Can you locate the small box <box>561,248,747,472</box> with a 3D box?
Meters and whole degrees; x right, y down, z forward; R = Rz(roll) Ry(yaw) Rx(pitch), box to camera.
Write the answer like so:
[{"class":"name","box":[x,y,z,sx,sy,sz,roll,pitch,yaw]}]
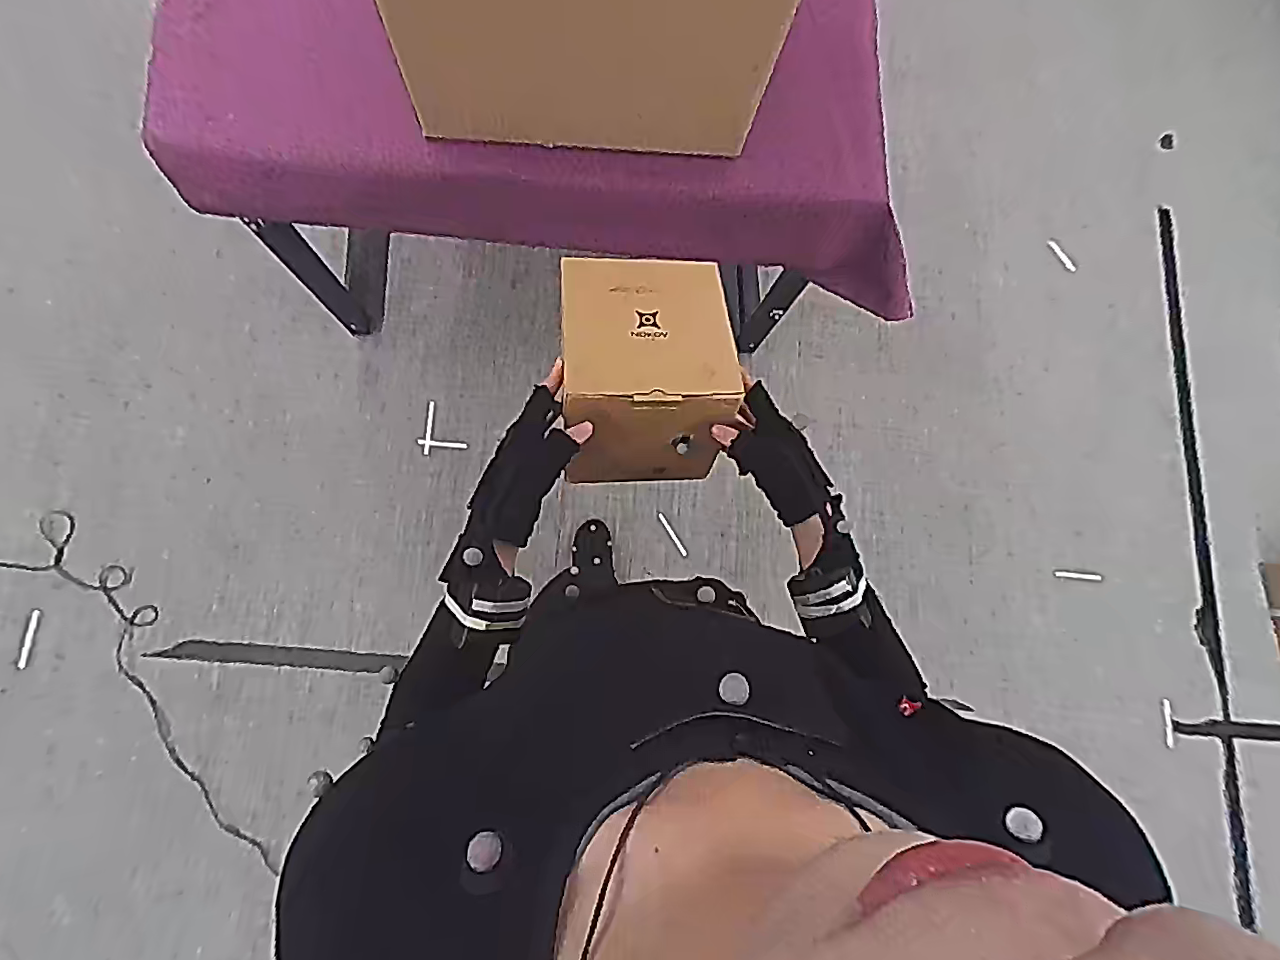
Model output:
[{"class":"small box","box":[0.000,-0.118,0.579,0.168,0.176,0.179,-1,62,-9]}]
